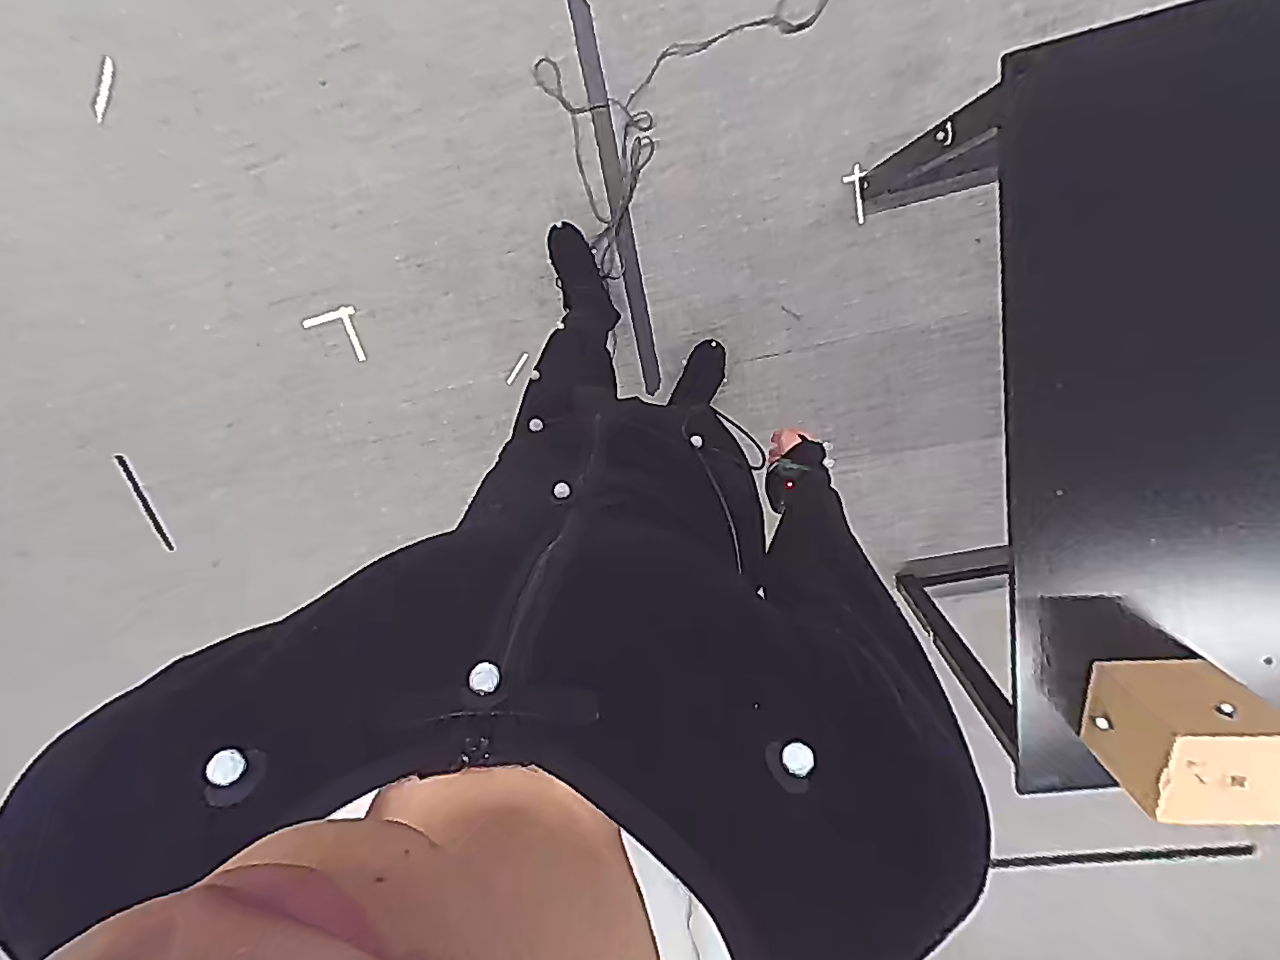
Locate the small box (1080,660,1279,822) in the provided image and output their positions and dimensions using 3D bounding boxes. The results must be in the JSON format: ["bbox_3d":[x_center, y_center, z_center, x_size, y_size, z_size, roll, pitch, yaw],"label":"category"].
[{"bbox_3d":[0.853,0.400,0.850,0.179,0.176,0.168,-3,108,7],"label":"small box"}]
